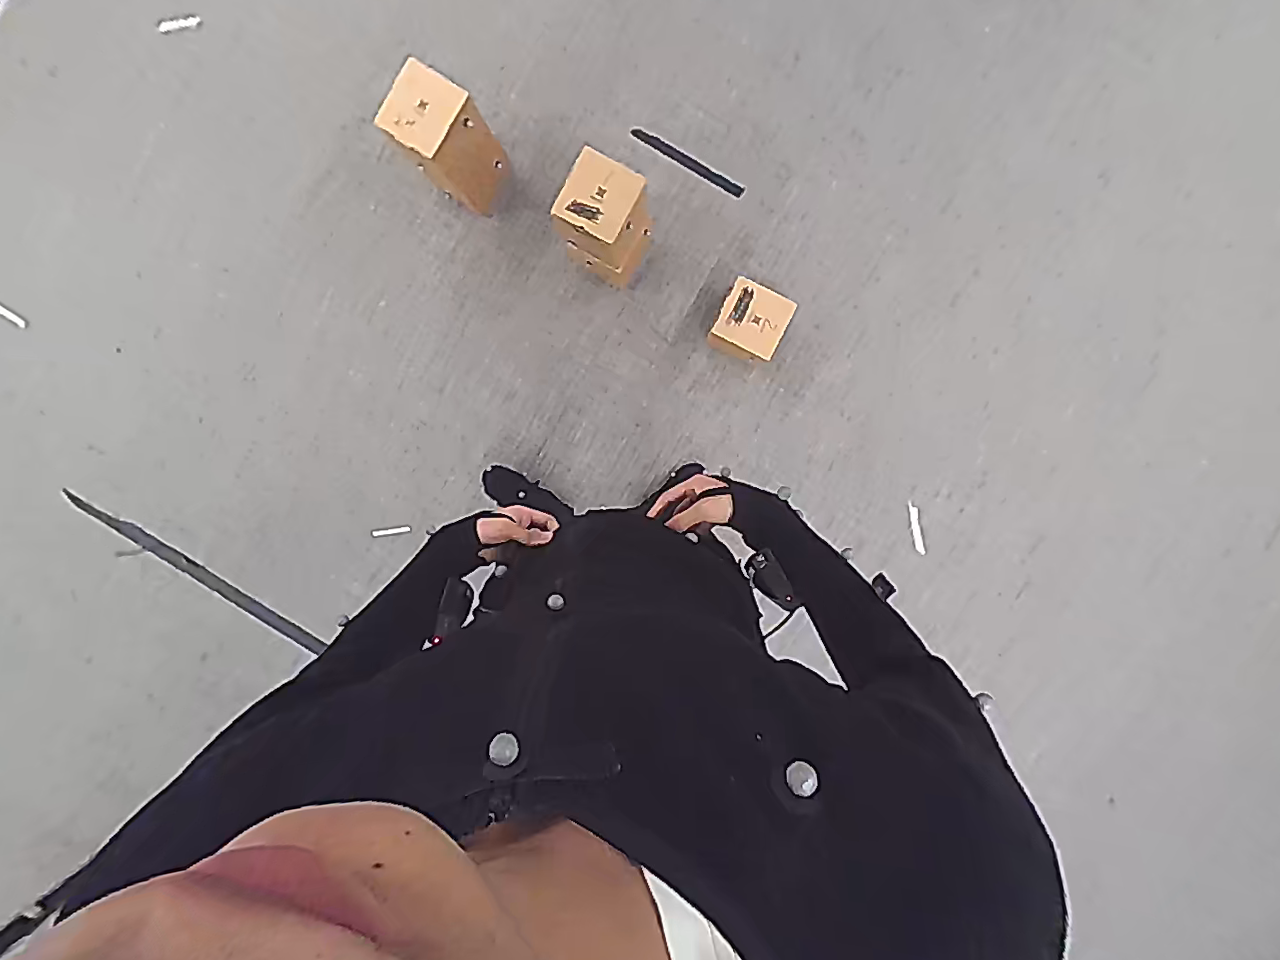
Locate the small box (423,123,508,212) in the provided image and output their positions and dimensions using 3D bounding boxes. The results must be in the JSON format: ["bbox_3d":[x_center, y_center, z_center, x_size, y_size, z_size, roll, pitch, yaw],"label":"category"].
[{"bbox_3d":[-0.481,-0.881,1.482,0.168,0.176,0.179,34,95,0],"label":"small box"}]

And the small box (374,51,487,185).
[{"bbox_3d":[-0.497,-0.870,1.318,0.168,0.176,0.179,34,96,1],"label":"small box"}]

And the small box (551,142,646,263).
[{"bbox_3d":[-0.092,-0.664,1.318,0.168,0.176,0.179,29,93,0],"label":"small box"}]

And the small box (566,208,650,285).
[{"bbox_3d":[-0.079,-0.665,1.483,0.168,0.176,0.179,29,94,0],"label":"small box"}]
